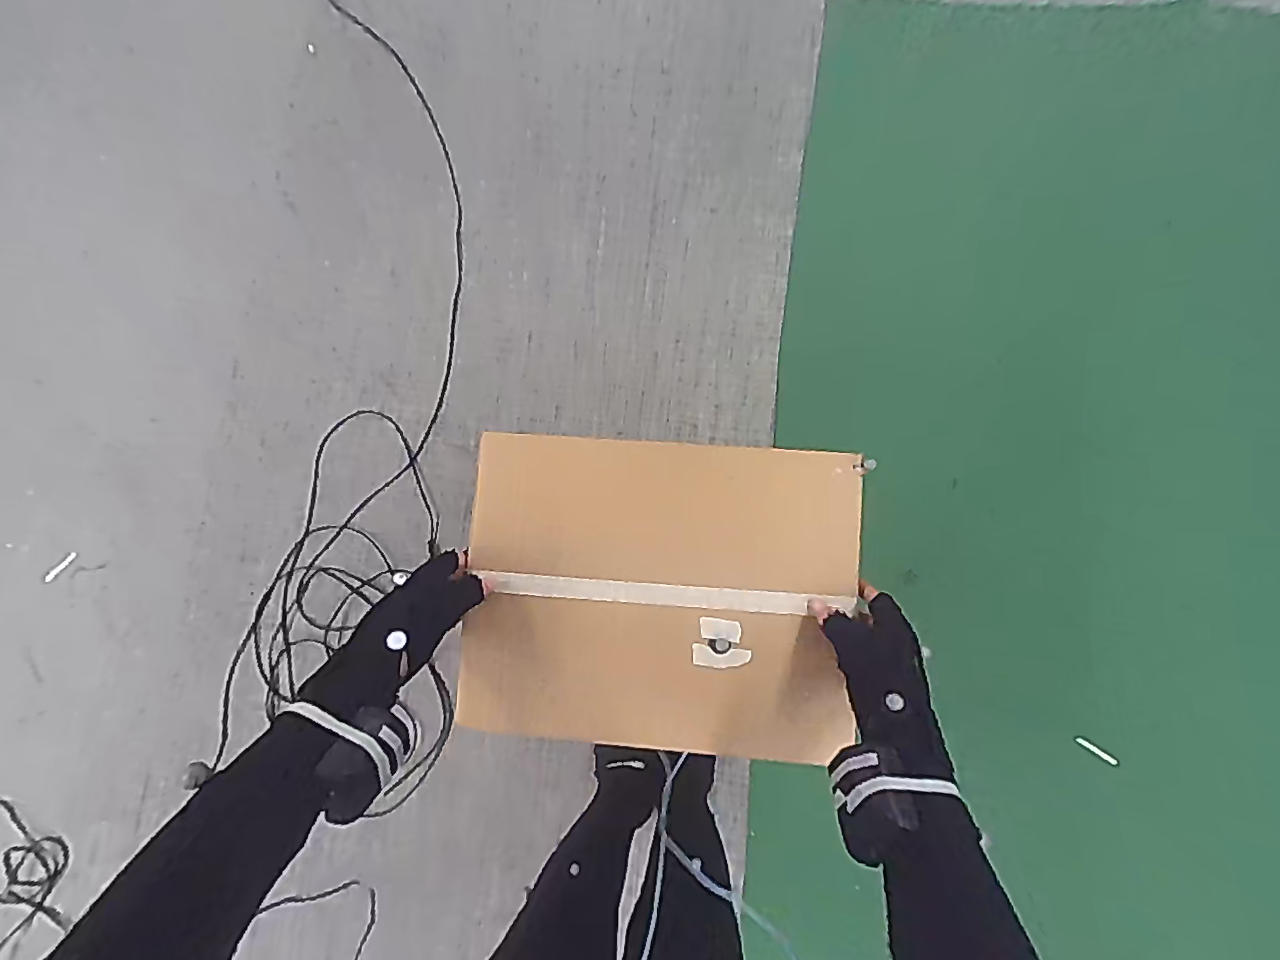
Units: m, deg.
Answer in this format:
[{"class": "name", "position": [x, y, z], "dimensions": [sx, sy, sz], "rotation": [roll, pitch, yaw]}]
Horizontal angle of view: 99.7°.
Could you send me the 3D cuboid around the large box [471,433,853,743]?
[{"class": "large box", "position": [0.030, 0.126, 0.727], "dimensions": [0.408, 0.320, 0.320], "rotation": [4, 85, 4]}]
